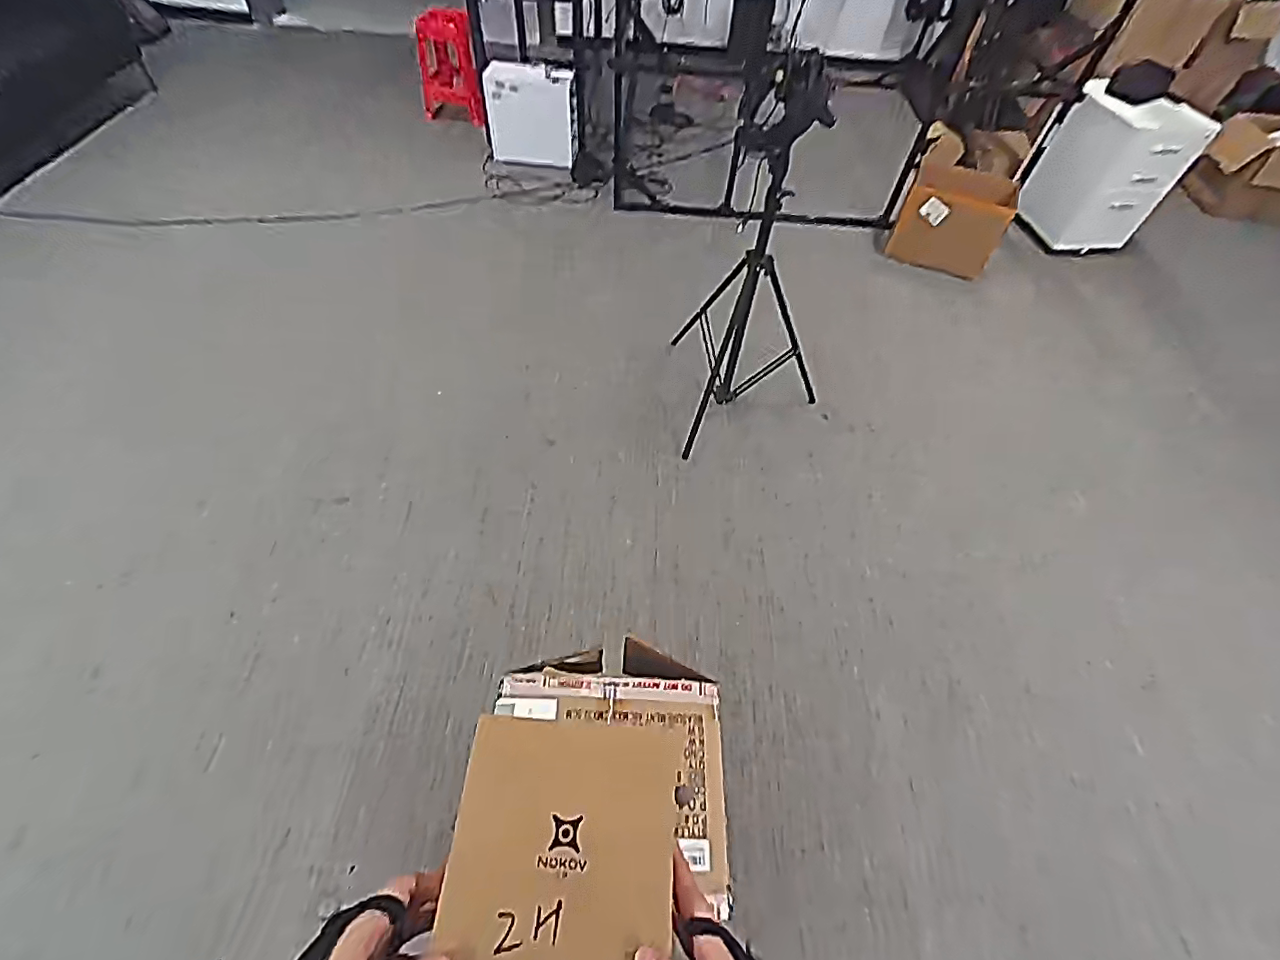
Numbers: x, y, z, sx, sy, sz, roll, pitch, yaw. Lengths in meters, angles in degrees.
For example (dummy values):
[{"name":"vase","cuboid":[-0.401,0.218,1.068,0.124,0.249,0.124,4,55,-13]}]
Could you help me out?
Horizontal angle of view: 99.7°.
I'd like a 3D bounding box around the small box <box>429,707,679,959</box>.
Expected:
[{"name":"small box","cuboid":[-0.058,0.314,0.469,0.168,0.176,0.179,4,55,1]}]
